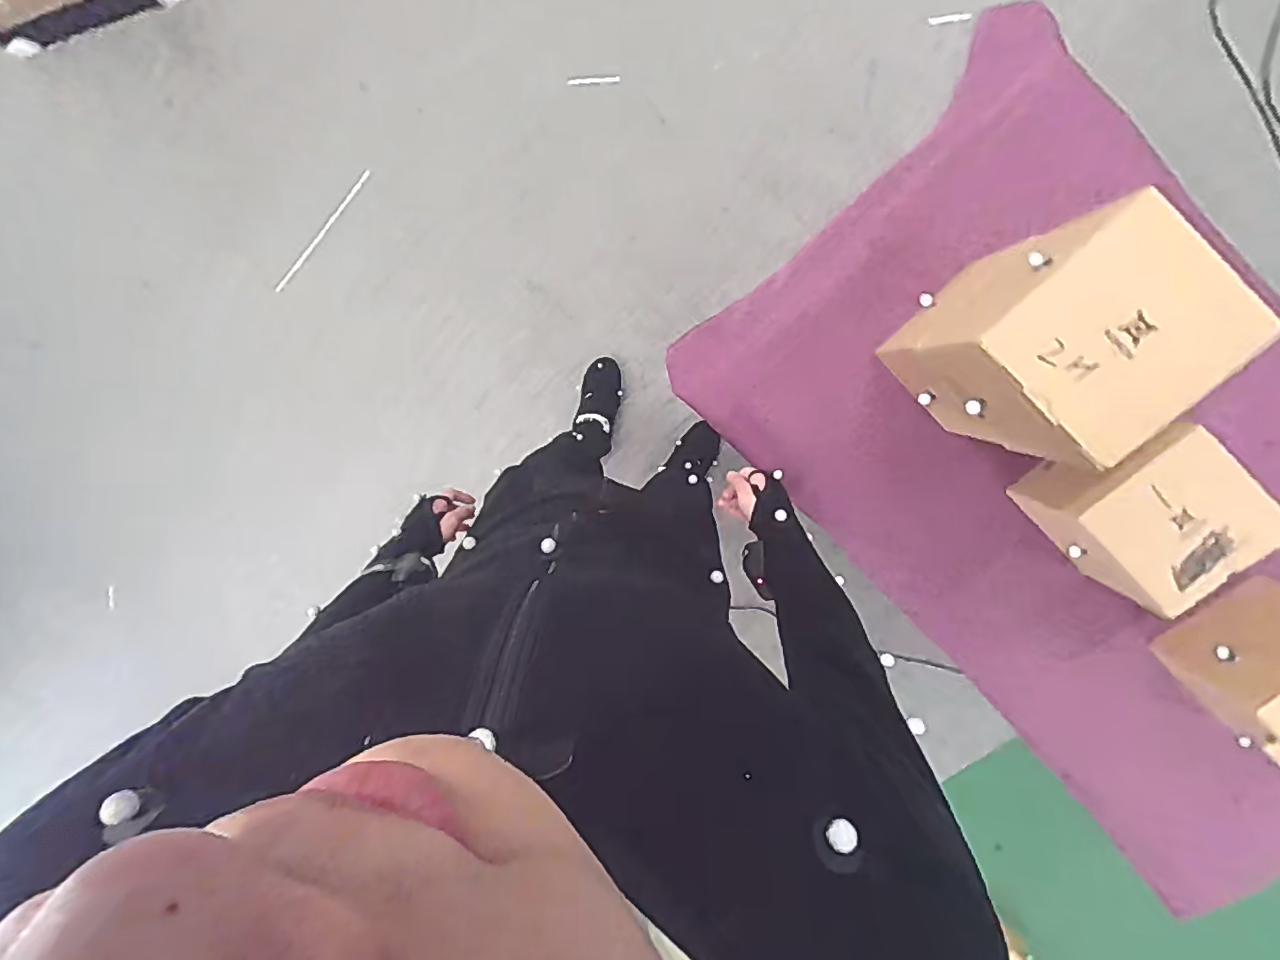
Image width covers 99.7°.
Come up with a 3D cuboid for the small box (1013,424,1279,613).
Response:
[{"bbox_3d":[0.651,0.033,0.709,0.179,0.176,0.168,45,103,-1],"label":"small box"}]

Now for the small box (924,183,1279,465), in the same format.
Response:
[{"bbox_3d":[0.427,-0.143,0.537,0.168,0.176,0.179,45,104,-1],"label":"small box"}]

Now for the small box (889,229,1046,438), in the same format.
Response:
[{"bbox_3d":[0.450,-0.177,0.696,0.168,0.176,0.179,45,104,-2],"label":"small box"}]

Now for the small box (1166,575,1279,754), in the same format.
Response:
[{"bbox_3d":[0.876,0.261,0.723,0.179,0.176,0.168,-43,93,13],"label":"small box"}]

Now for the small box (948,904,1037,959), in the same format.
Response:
[{"bbox_3d":[1.096,1.458,1.663,0.168,0.176,0.179,-43,93,13],"label":"small box"}]
